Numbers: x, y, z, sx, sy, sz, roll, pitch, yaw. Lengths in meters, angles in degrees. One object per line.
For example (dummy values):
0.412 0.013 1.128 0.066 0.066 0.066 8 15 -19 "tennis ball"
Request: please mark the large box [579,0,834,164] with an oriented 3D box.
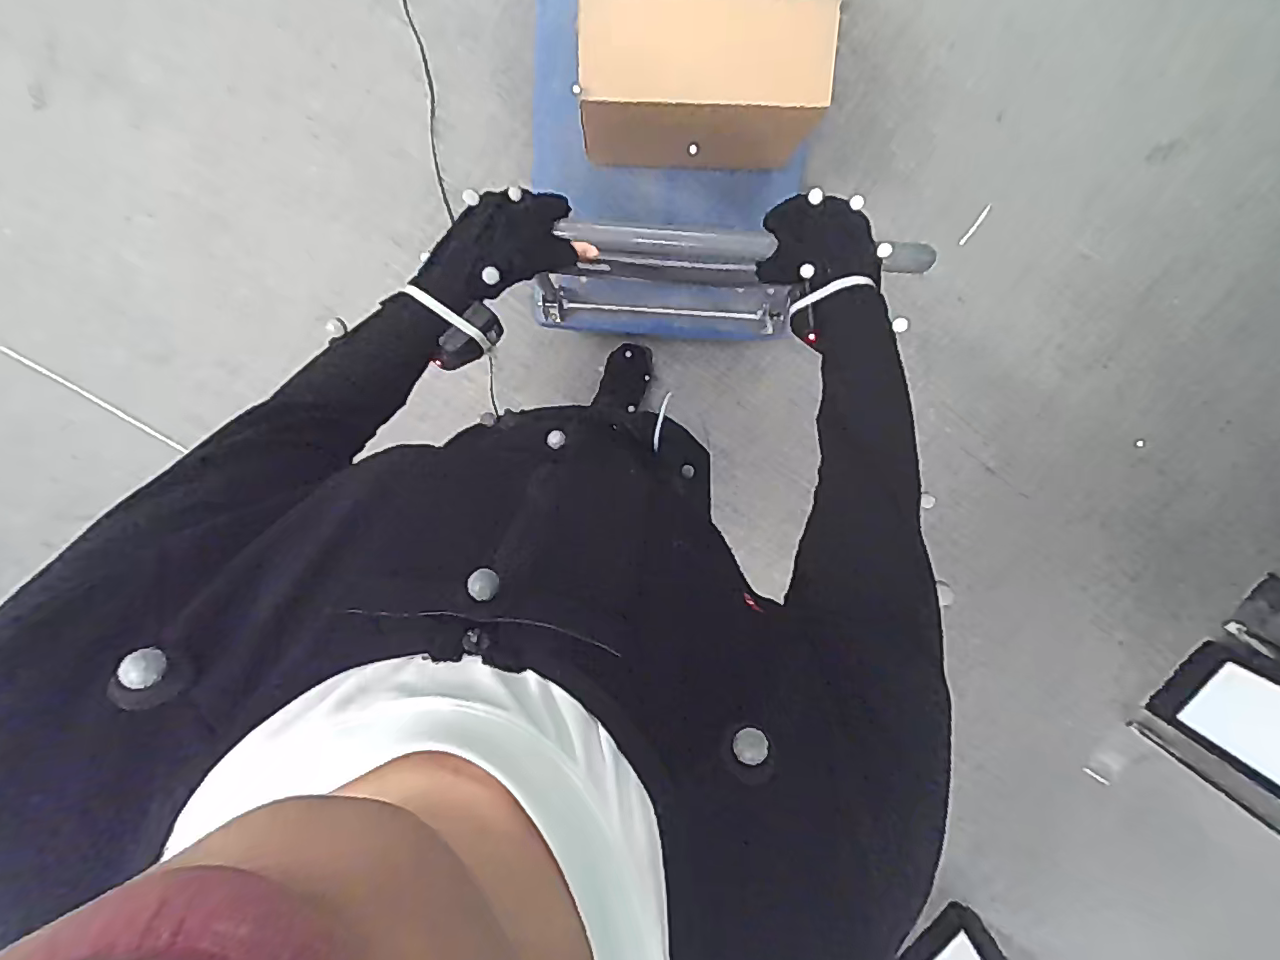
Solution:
0.101 -0.786 0.976 0.408 0.320 0.320 0 103 -2 "large box"
